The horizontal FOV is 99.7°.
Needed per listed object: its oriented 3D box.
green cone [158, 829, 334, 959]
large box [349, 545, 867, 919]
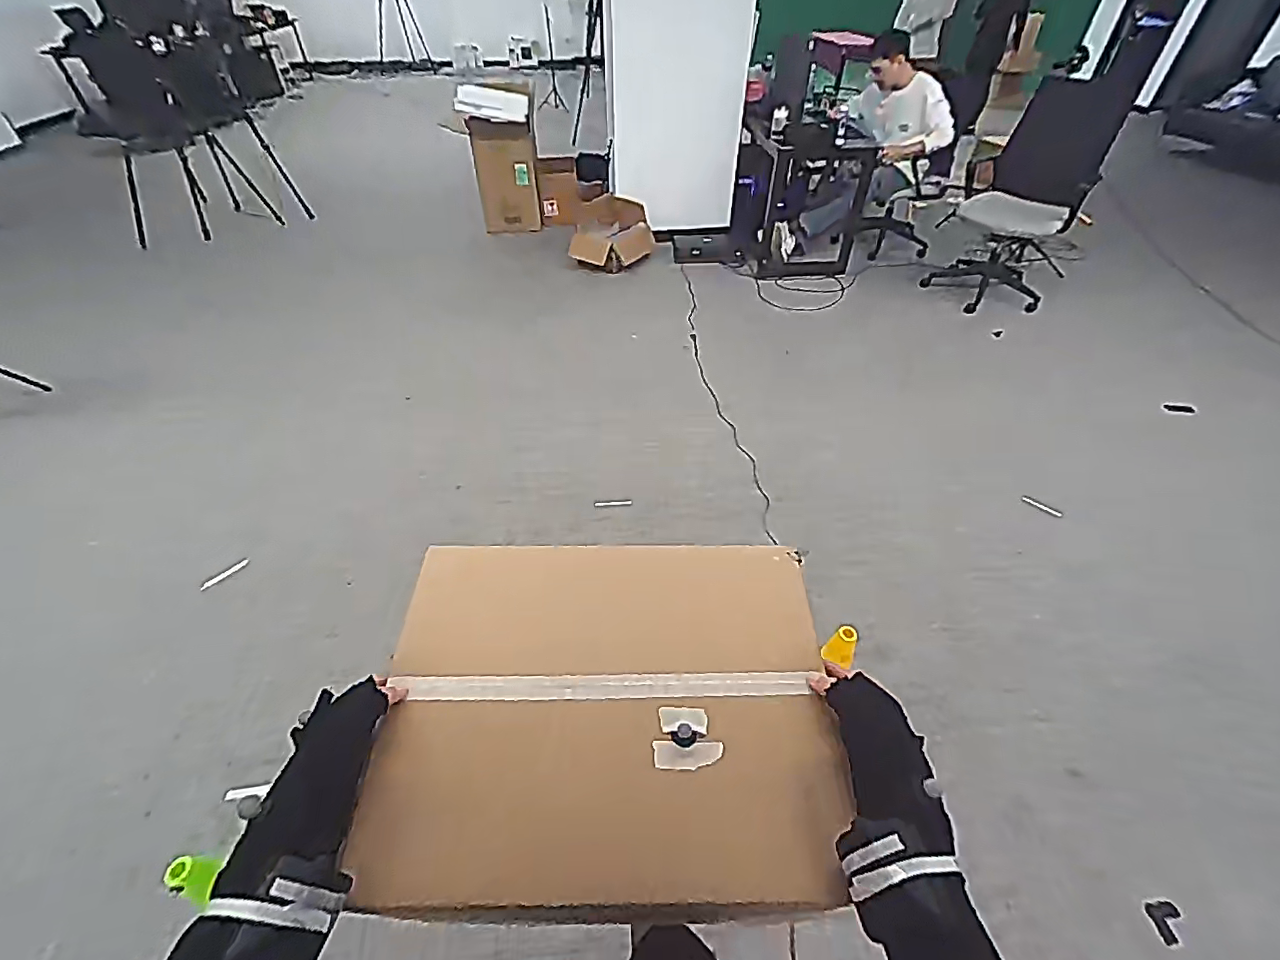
[{"bbox_3d":[-0.797,0.790,1.055,0.202,0.368,0.200,-34,53,-28],"label":"green cone"},{"bbox_3d":[-0.029,0.288,0.616,0.408,0.320,0.320,1,49,-1],"label":"large box"}]
